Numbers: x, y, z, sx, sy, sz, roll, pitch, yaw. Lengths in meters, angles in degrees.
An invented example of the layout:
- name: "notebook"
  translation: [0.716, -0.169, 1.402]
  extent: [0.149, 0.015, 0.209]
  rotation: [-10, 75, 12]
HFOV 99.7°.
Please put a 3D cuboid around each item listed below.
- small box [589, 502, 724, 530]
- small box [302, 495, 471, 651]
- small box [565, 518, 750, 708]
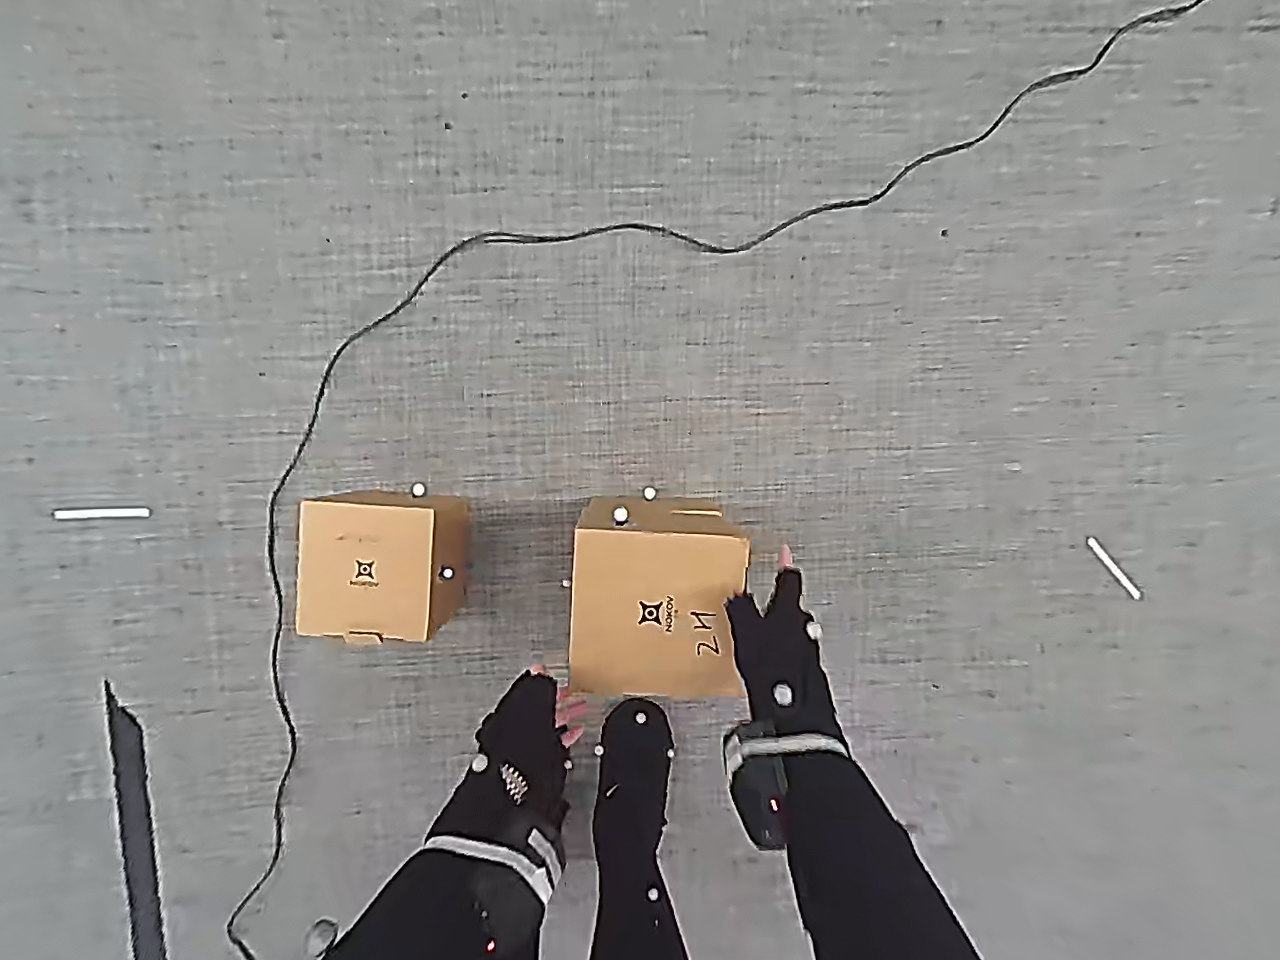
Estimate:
- name: "small box"
  translation: [0.017, 0.124, 0.780]
  extent: [0.179, 0.176, 0.168]
  rotation: [2, 94, -2]
- name: "small box"
  translation: [-0.345, 0.122, 0.765]
  extent: [0.168, 0.176, 0.179]
  rotation: [5, 93, -3]
- name: "small box"
  translation: [0.014, 0.137, 0.614]
  extent: [0.179, 0.176, 0.168]
  rotation: [3, 94, -3]
